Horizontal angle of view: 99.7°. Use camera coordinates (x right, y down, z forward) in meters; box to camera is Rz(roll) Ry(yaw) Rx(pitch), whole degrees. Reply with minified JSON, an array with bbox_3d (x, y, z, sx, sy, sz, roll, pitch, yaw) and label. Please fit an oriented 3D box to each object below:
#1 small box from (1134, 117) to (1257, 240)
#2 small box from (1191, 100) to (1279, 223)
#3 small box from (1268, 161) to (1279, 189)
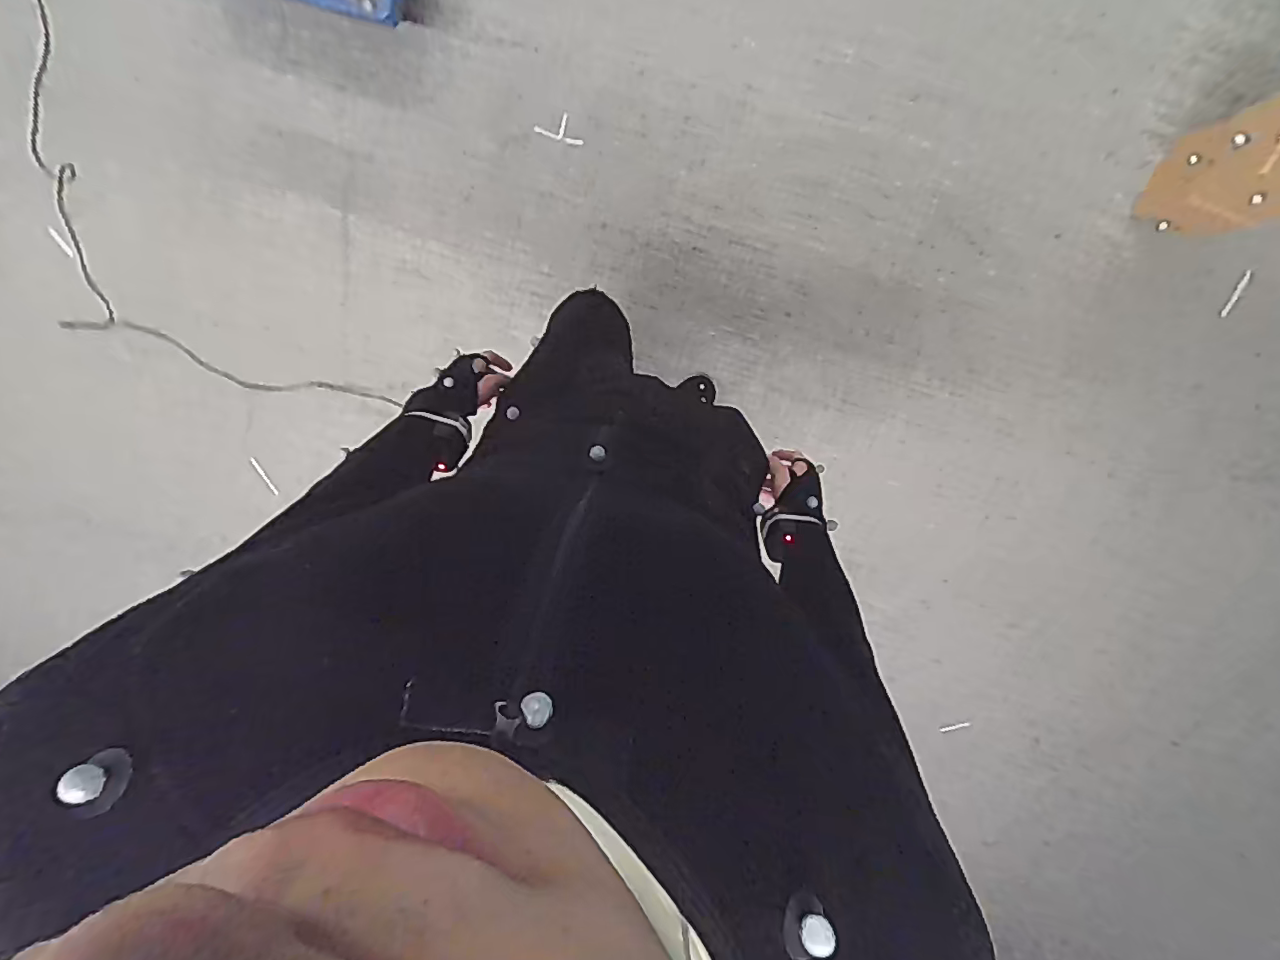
[{"bbox_3d":[1.288,-0.666,1.218,0.168,0.176,0.179,24,108,0],"label":"small box"},{"bbox_3d":[1.269,-0.626,1.060,0.179,0.176,0.168,24,107,1],"label":"small box"},{"bbox_3d":[1.255,-0.569,0.906,0.179,0.176,0.168,22,107,-1],"label":"small box"}]
